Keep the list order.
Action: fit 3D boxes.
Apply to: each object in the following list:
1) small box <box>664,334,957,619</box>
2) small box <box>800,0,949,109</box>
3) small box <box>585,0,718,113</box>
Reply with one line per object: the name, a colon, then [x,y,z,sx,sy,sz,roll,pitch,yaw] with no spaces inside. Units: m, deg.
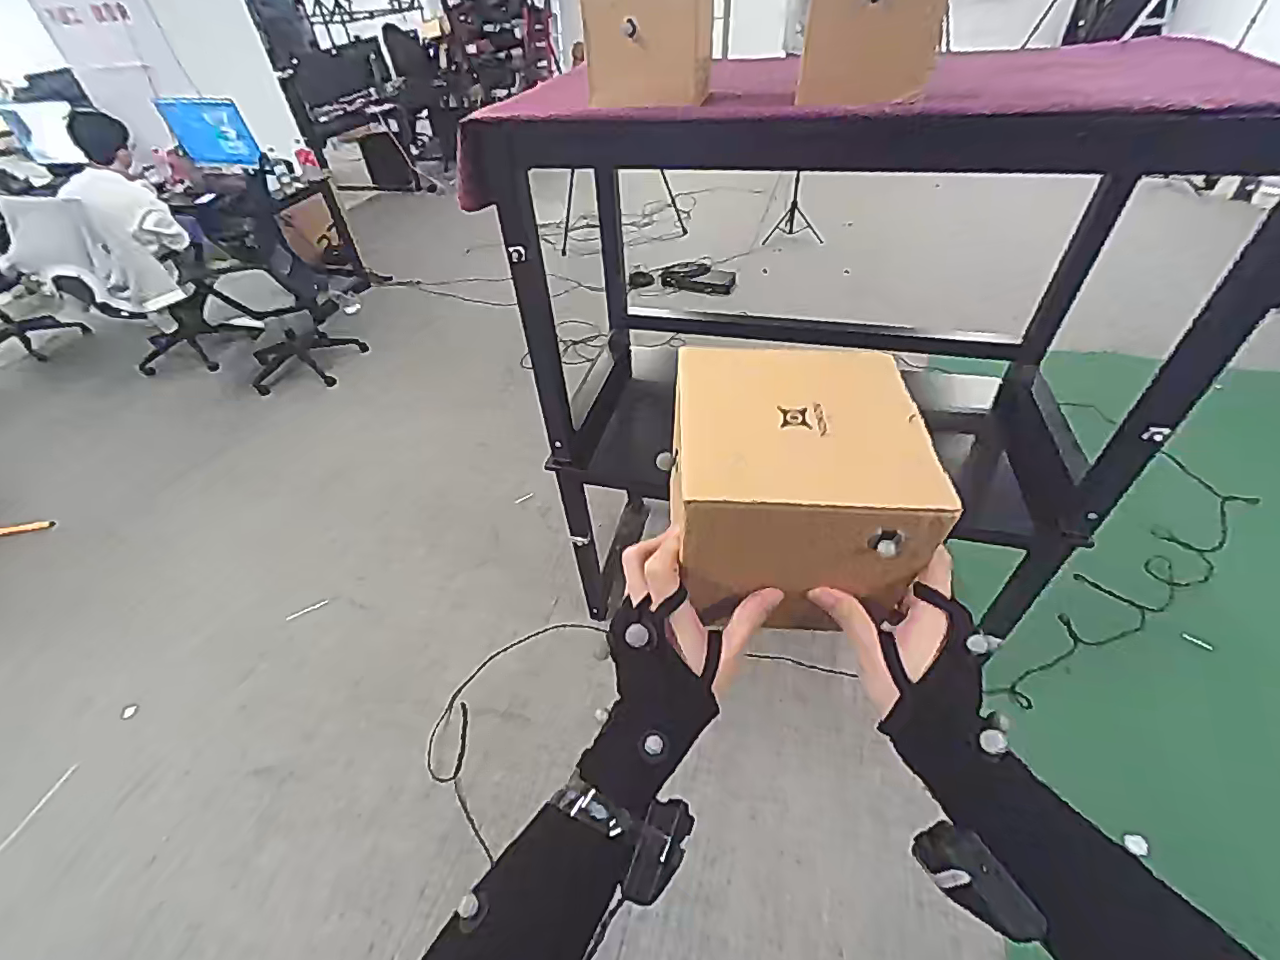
small box: [0.109,0.000,0.440,0.179,0.176,0.168,2,48,1]
small box: [0.327,-0.641,0.768,0.179,0.176,0.168,7,44,13]
small box: [0.023,-0.685,0.842,0.179,0.176,0.168,6,44,13]
